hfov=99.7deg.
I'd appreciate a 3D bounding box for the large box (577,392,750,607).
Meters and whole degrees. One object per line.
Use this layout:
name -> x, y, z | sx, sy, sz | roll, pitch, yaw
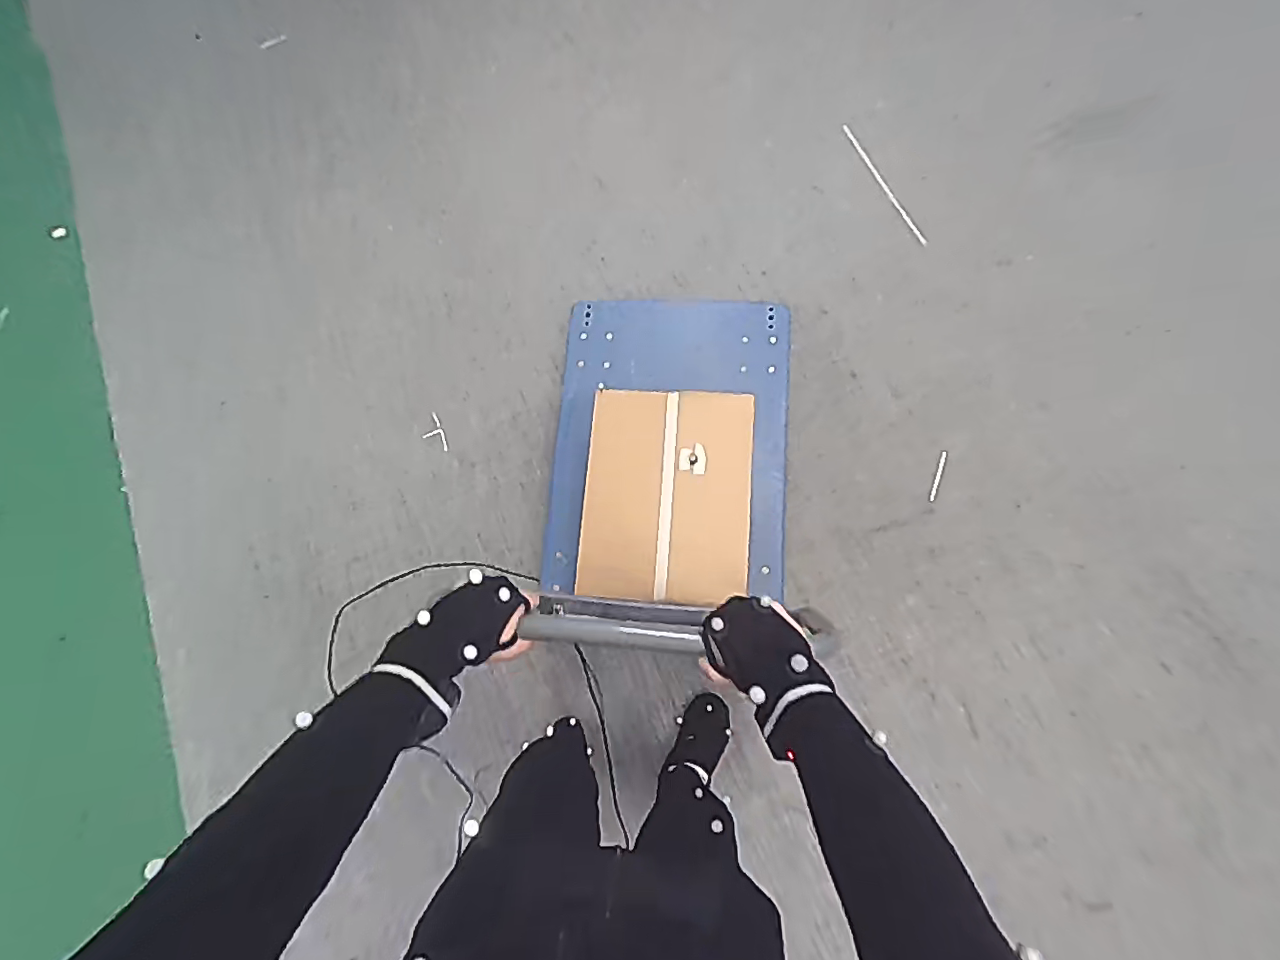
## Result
large box -> 0.064, 0.060, 1.164 | 0.320, 0.320, 0.408 | 4, 77, 6
